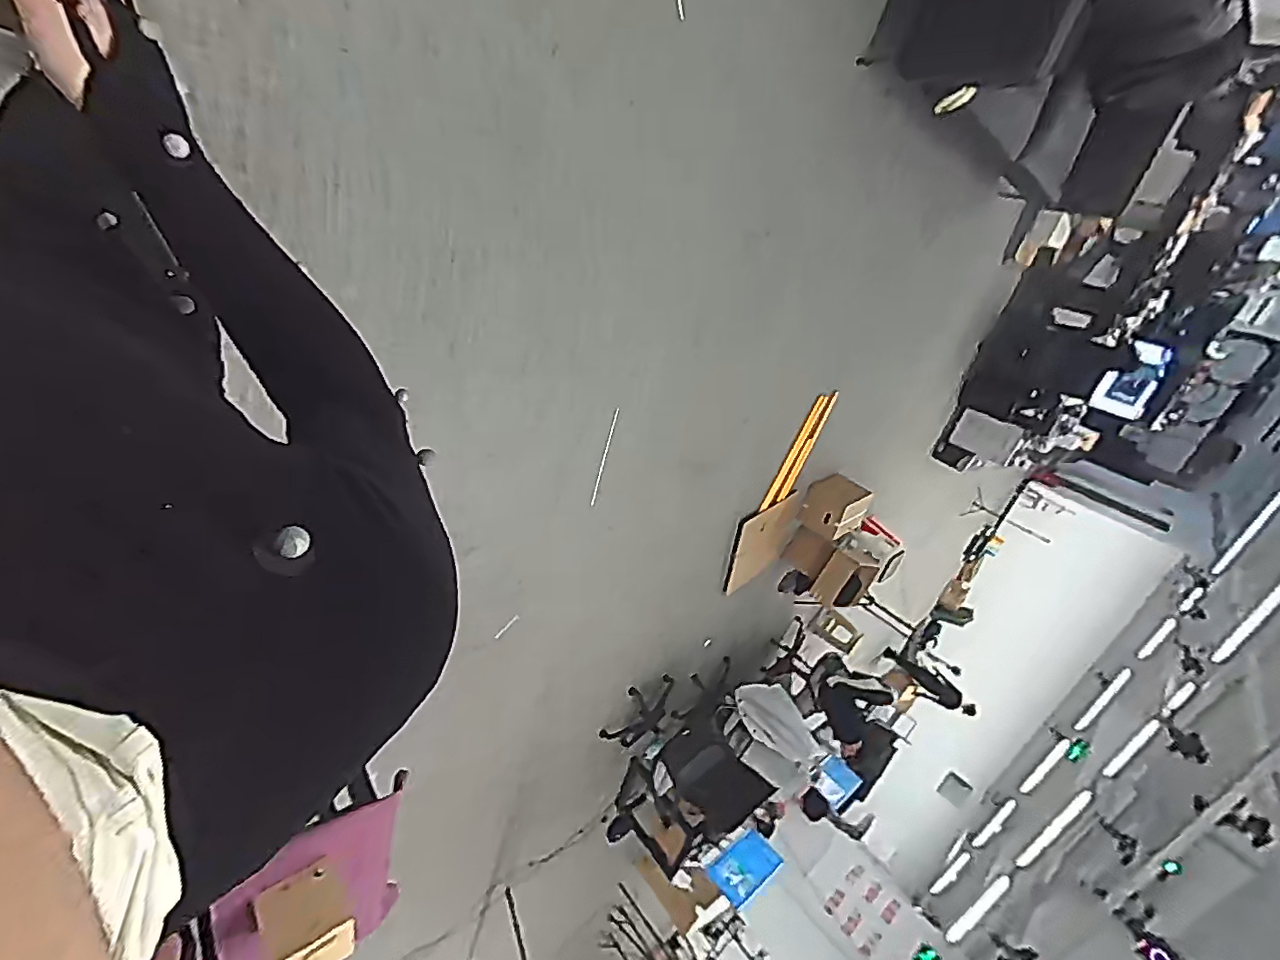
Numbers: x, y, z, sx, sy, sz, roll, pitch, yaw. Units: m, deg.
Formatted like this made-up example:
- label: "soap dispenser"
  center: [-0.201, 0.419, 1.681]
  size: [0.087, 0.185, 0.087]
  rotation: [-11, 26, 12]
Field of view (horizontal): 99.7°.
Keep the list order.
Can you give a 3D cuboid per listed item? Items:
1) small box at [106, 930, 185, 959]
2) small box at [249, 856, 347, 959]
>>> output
- label: "small box"
  center: [-1.023, 1.074, 1.092]
  size: [0.168, 0.176, 0.179]
  rotation: [-8, 125, -43]
- label: "small box"
  center: [-0.808, 1.040, 1.279]
  size: [0.168, 0.176, 0.179]
  rotation: [-10, 129, -40]
